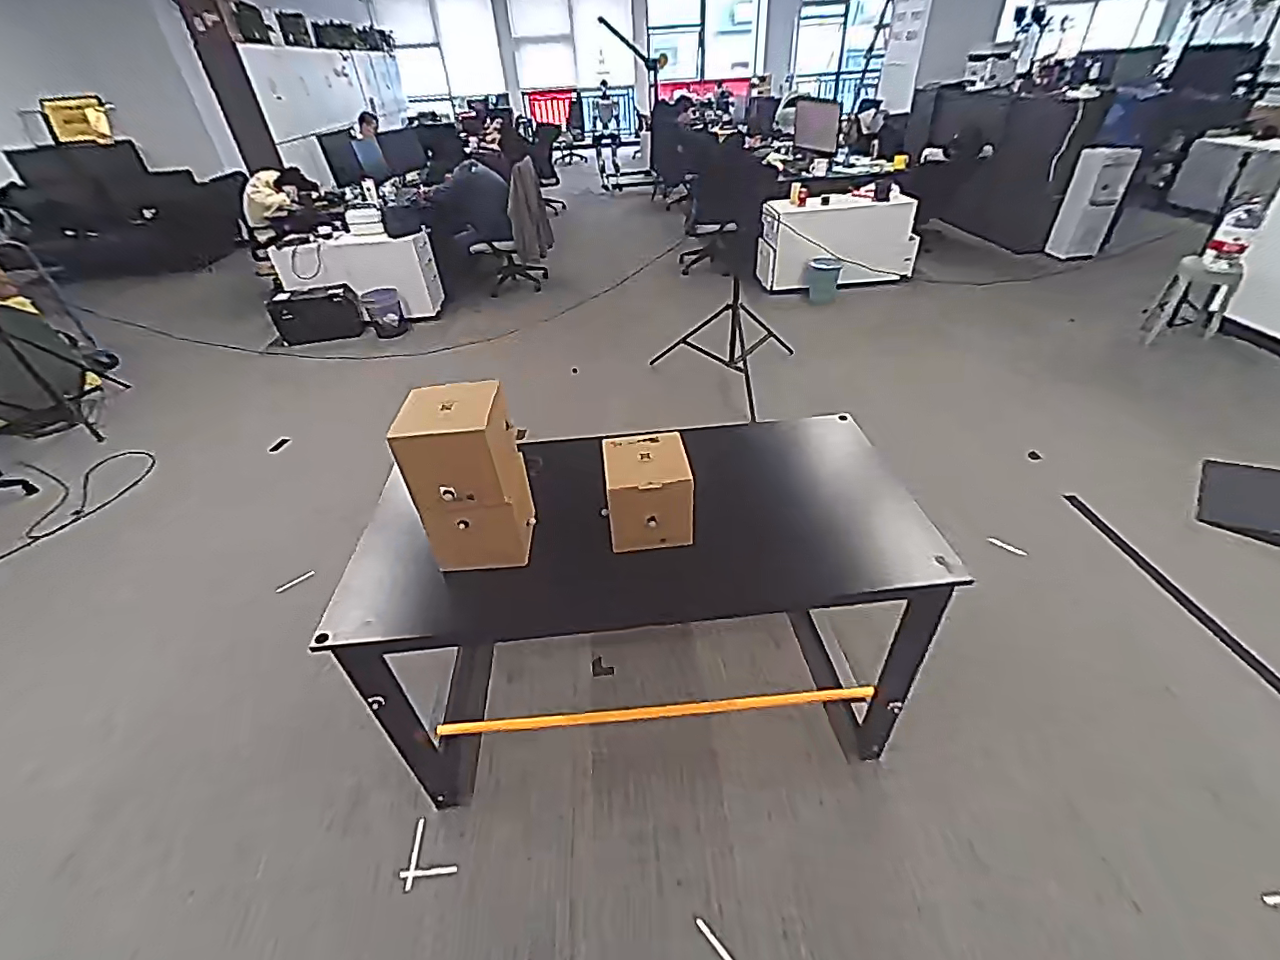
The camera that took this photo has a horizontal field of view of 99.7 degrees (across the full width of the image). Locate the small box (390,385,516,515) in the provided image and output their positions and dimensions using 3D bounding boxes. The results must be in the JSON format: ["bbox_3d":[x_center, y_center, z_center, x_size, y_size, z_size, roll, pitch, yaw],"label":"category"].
[{"bbox_3d":[-0.332,-0.057,1.002,0.168,0.176,0.179,-6,38,-1],"label":"small box"}]

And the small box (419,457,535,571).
[{"bbox_3d":[-0.321,0.071,1.102,0.179,0.176,0.168,-4,37,-1],"label":"small box"}]

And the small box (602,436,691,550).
[{"bbox_3d":[0.013,0.031,1.127,0.168,0.176,0.179,-6,38,-3],"label":"small box"}]
